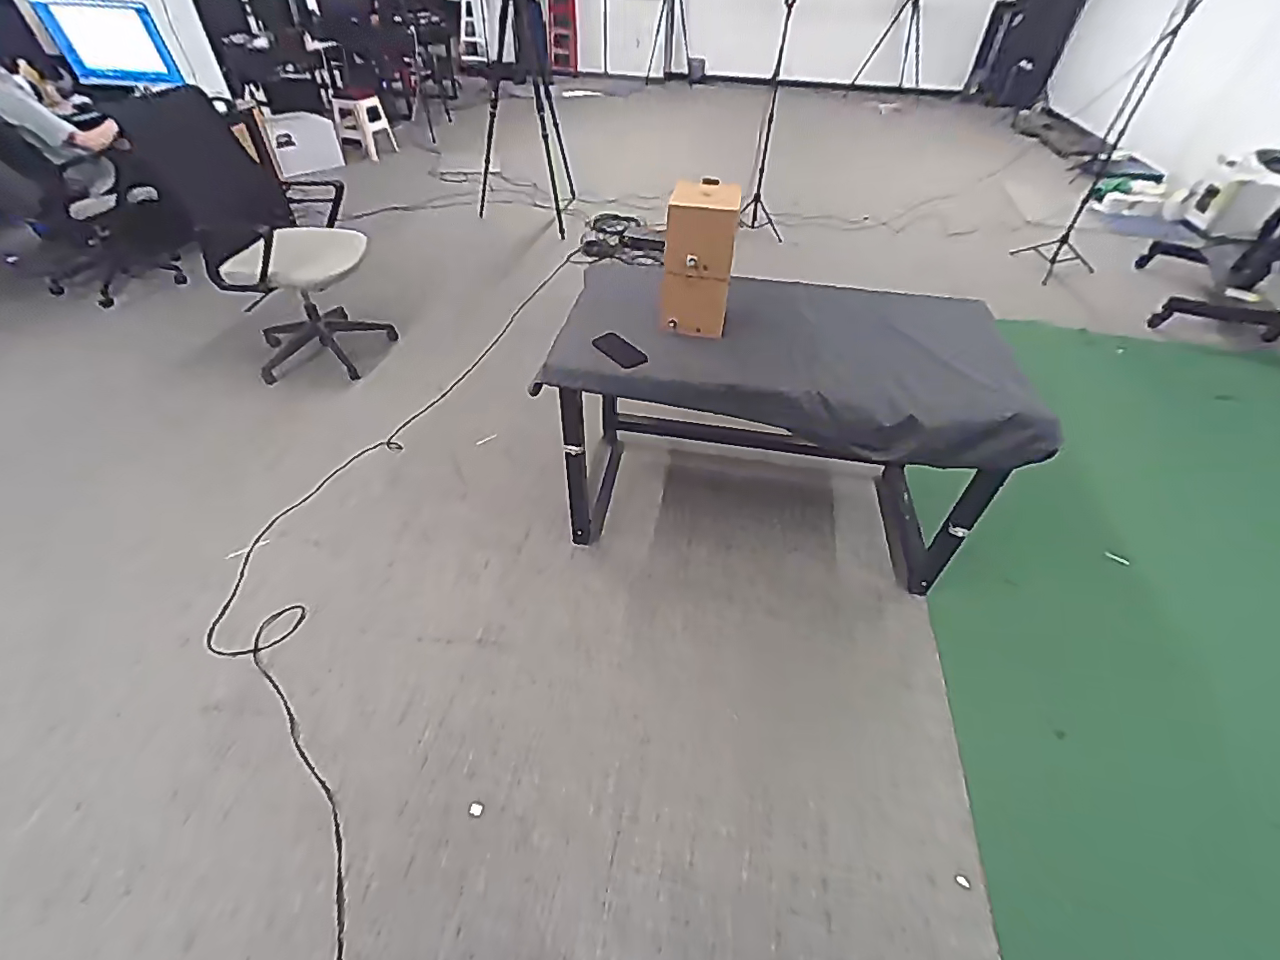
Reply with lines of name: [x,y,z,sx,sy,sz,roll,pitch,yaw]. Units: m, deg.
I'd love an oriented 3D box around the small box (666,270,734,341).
small box: [0.165,-0.495,1.460,0.168,0.176,0.179,10,44,7]

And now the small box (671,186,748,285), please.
small box: [0.170,-0.607,1.343,0.168,0.176,0.179,8,45,7]
